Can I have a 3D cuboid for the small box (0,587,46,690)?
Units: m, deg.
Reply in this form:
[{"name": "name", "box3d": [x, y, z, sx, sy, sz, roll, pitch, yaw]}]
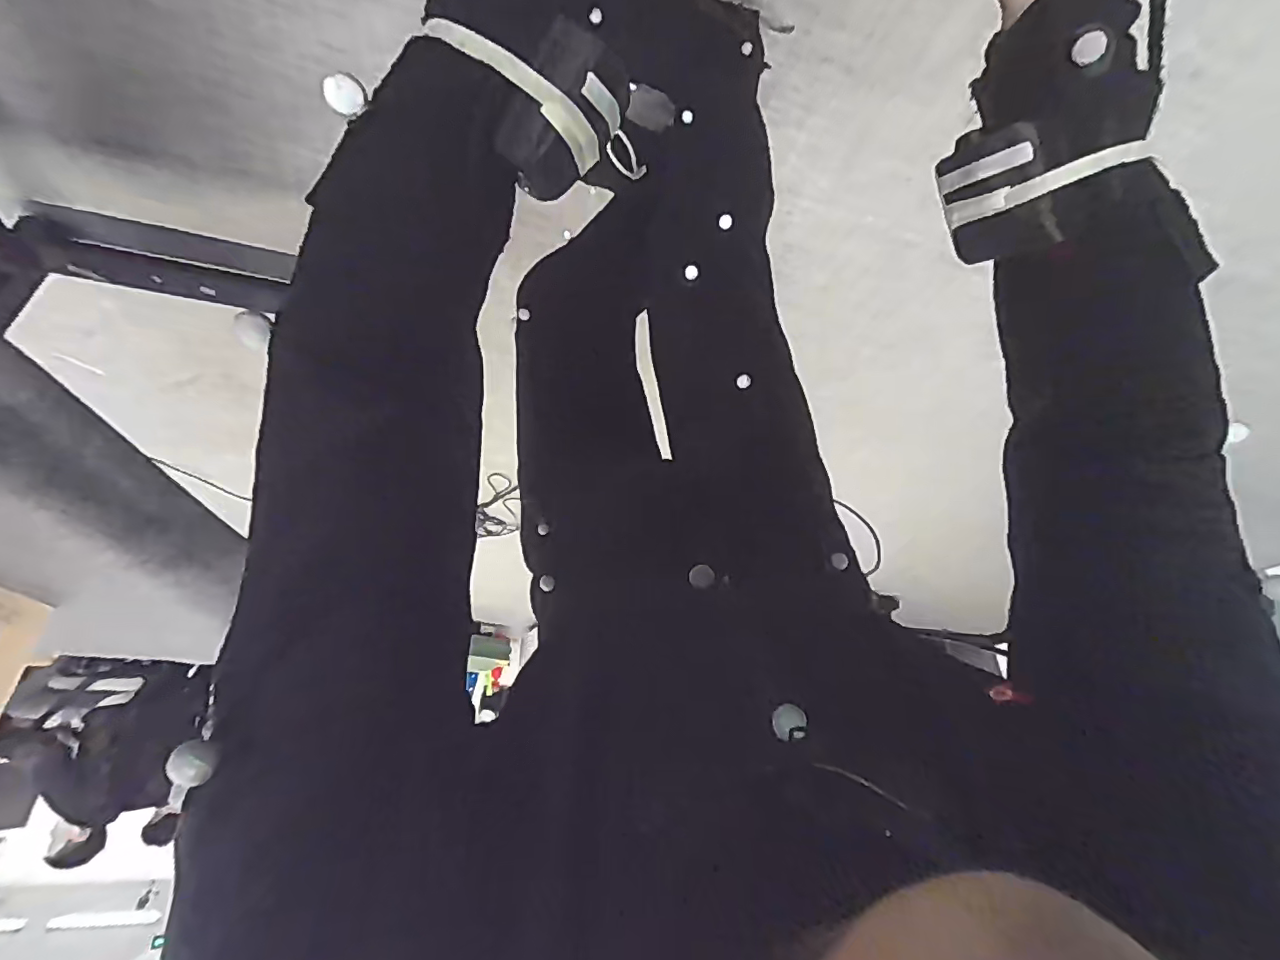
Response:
[{"name": "small box", "box3d": [-0.651, 0.151, 0.418, 0.179, 0.176, 0.168, 6, 151, -12]}]
